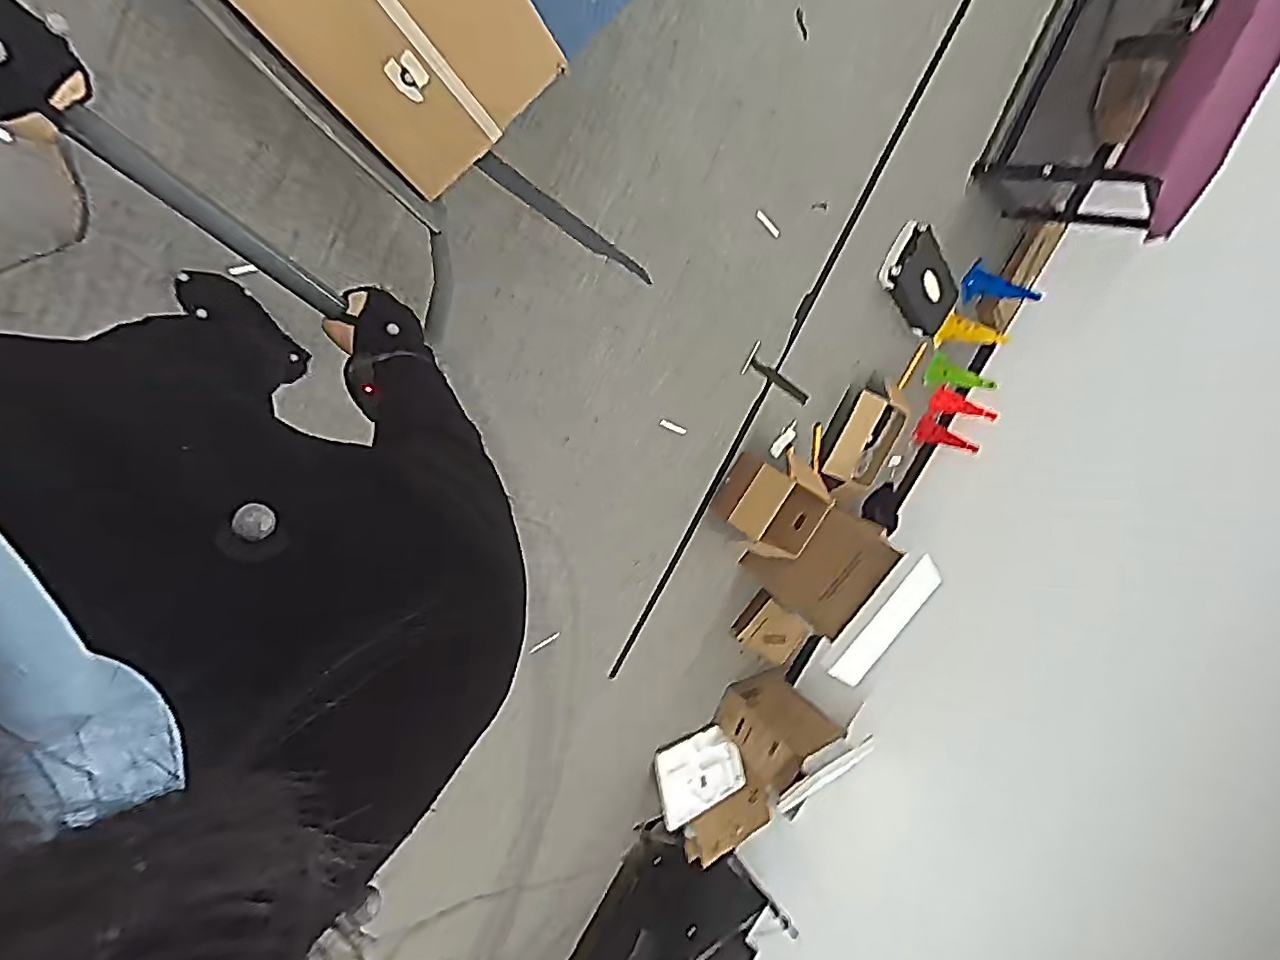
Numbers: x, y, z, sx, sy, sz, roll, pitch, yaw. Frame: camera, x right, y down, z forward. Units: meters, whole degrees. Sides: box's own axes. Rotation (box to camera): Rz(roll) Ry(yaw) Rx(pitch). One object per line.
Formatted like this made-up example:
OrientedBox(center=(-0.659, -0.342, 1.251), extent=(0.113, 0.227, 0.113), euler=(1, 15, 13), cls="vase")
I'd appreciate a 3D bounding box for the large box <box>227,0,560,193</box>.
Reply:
OrientedBox(center=(-0.397, -0.757, 0.829), extent=(0.320, 0.320, 0.408), euler=(-35, 140, 13), cls="large box")
